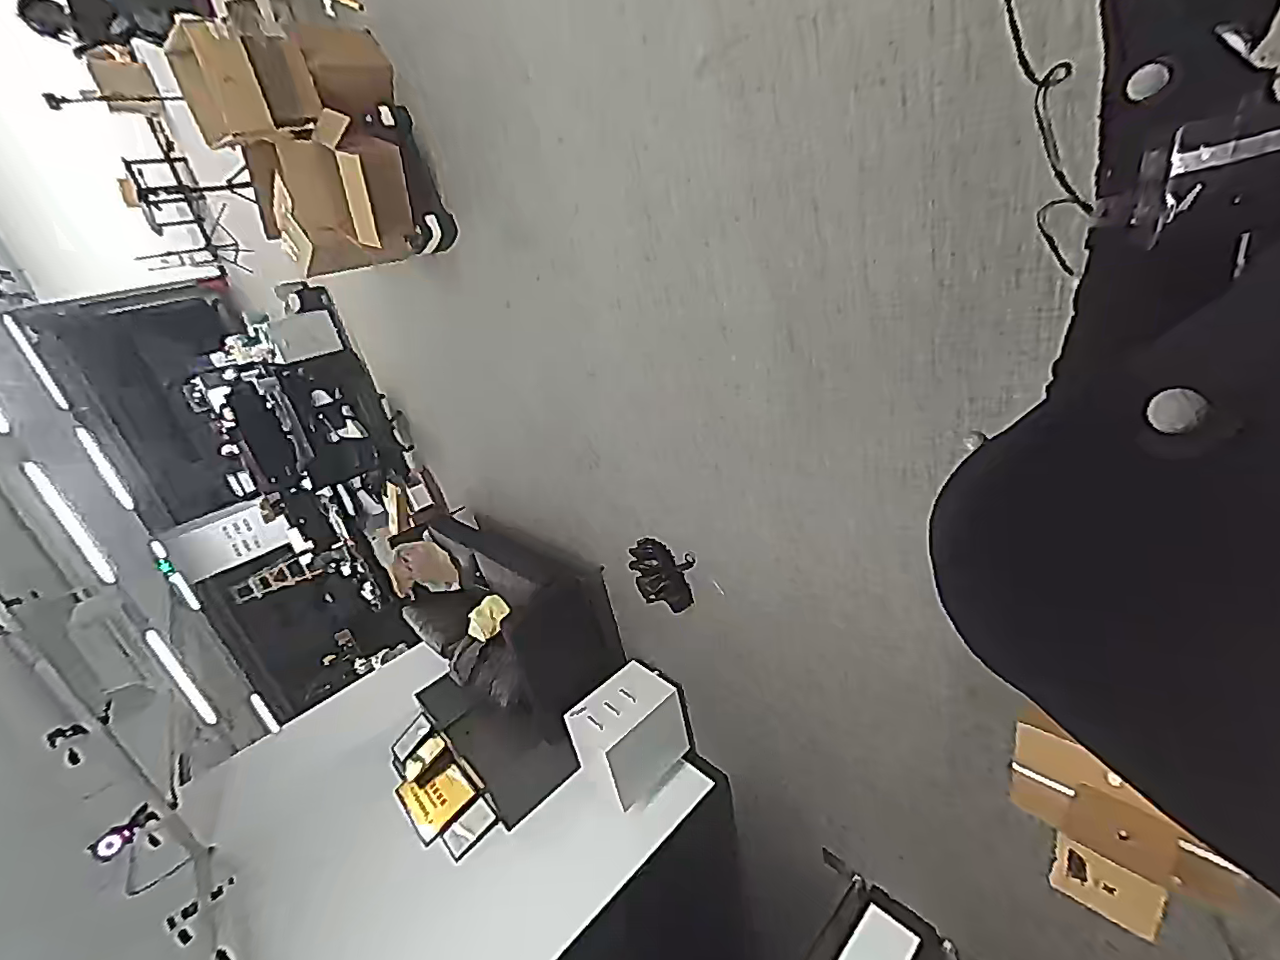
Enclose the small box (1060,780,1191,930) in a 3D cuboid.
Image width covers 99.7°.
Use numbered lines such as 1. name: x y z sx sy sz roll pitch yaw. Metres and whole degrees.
1. small box: 1.047 0.792 1.170 0.179 0.176 0.168 12 118 50
